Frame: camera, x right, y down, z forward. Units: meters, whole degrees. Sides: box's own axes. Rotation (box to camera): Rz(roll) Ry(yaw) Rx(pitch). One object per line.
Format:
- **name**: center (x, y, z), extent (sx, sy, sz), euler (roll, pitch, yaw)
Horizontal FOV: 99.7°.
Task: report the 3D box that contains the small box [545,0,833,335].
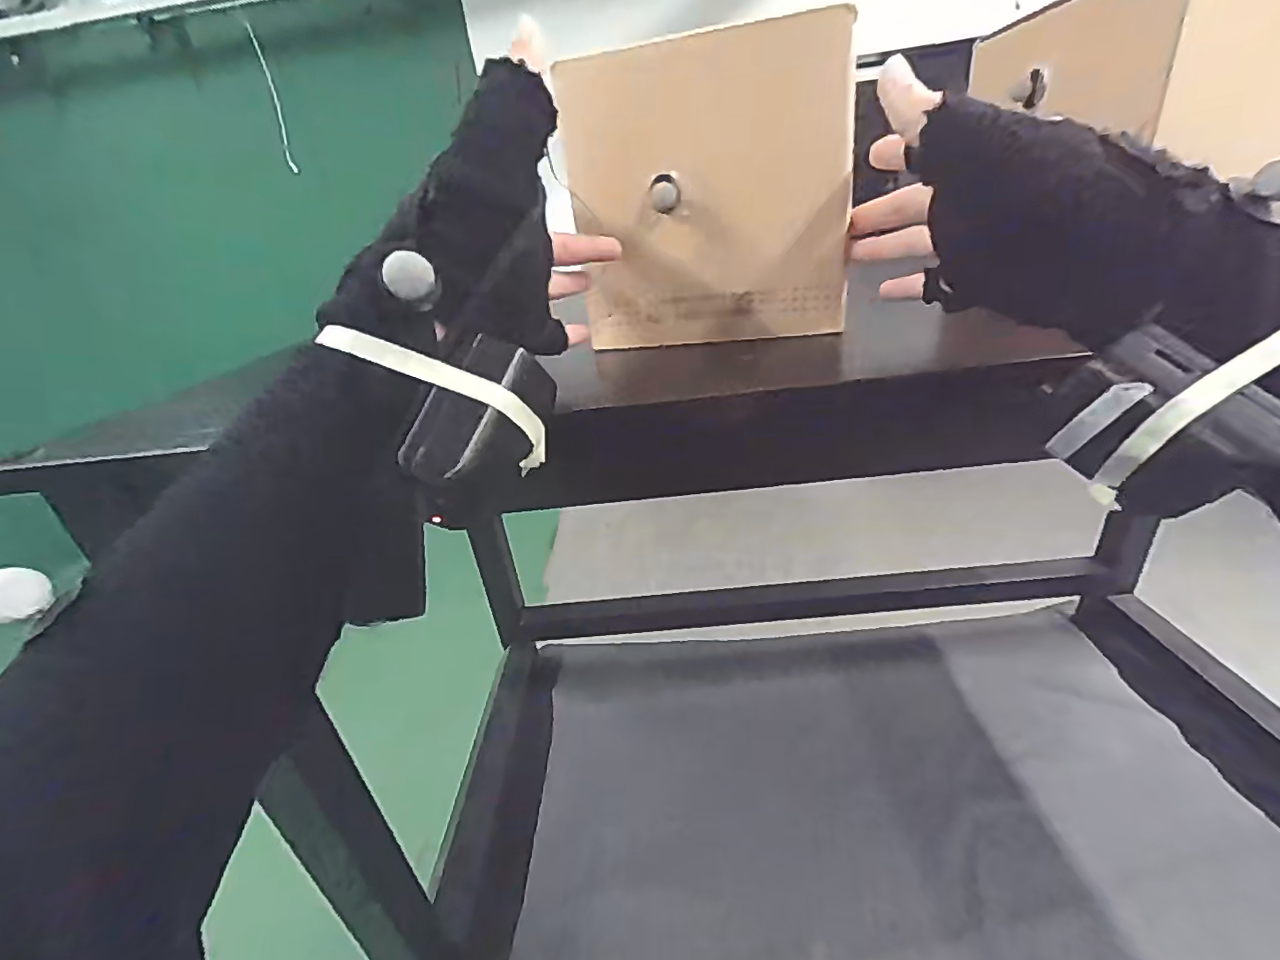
- **small box**: center (0.051, -0.207, 0.400), extent (0.168, 0.176, 0.179), euler (0, 26, 15)
